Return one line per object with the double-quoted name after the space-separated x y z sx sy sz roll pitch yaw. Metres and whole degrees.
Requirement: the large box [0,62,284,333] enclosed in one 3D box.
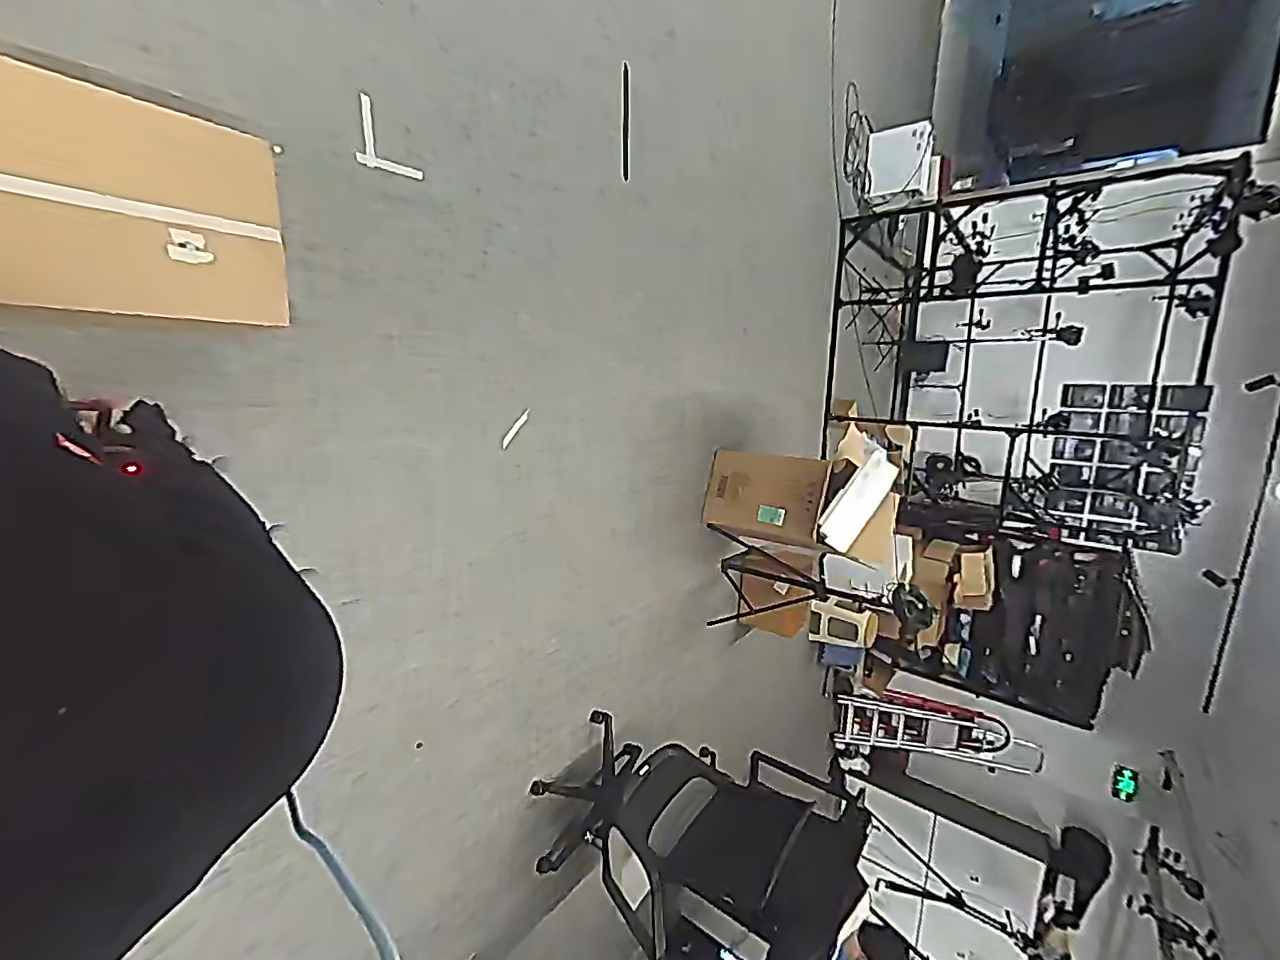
-0.887 -0.419 0.889 0.408 0.320 0.320 -13 108 -53 "large box"
